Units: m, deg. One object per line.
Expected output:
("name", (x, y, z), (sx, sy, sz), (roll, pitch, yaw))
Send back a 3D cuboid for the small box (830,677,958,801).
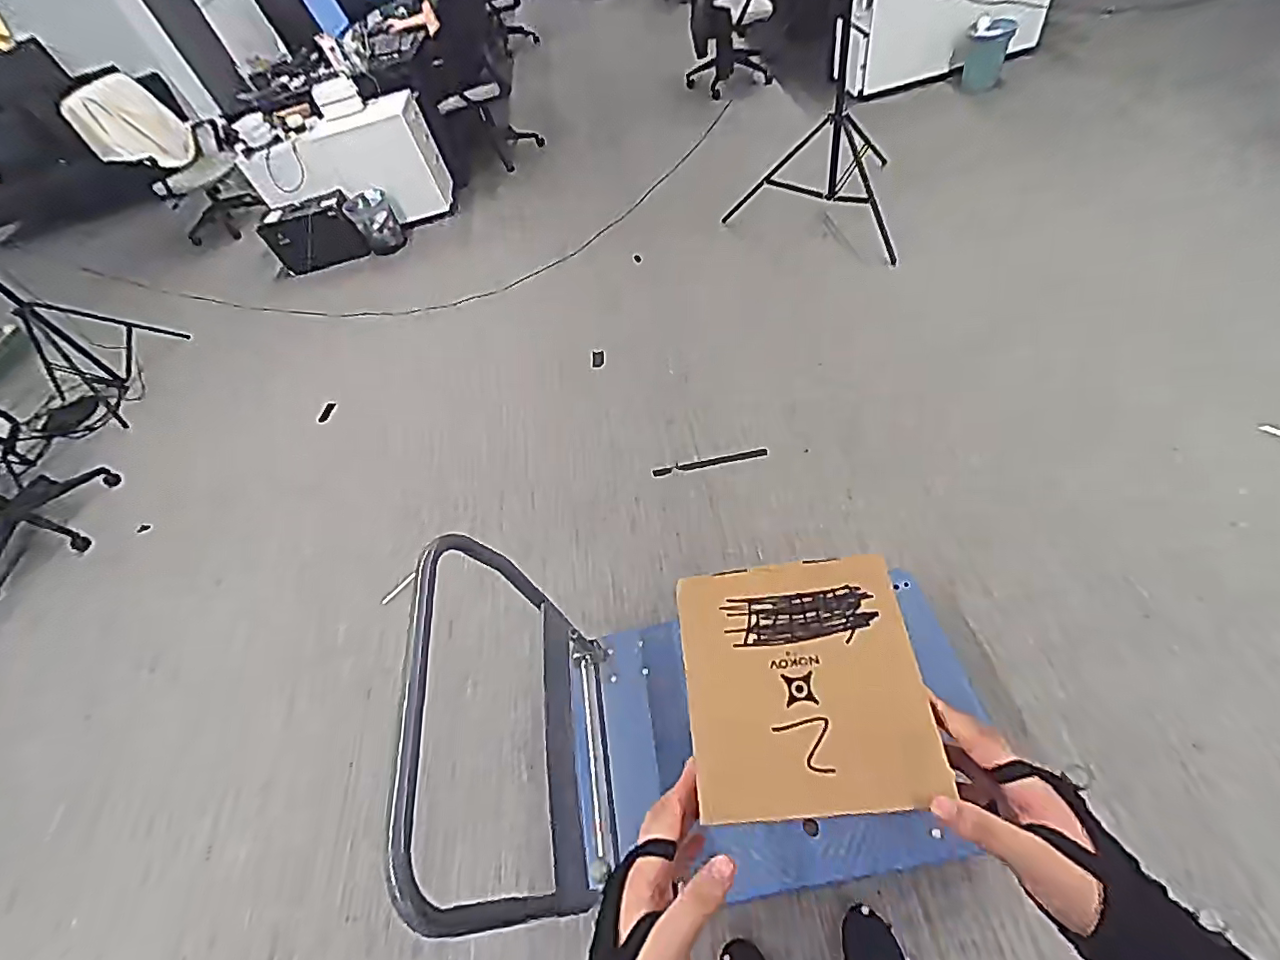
("small box", (0.478, 0.505, 1.050), (0.168, 0.176, 0.179), (-11, 52, 7))
